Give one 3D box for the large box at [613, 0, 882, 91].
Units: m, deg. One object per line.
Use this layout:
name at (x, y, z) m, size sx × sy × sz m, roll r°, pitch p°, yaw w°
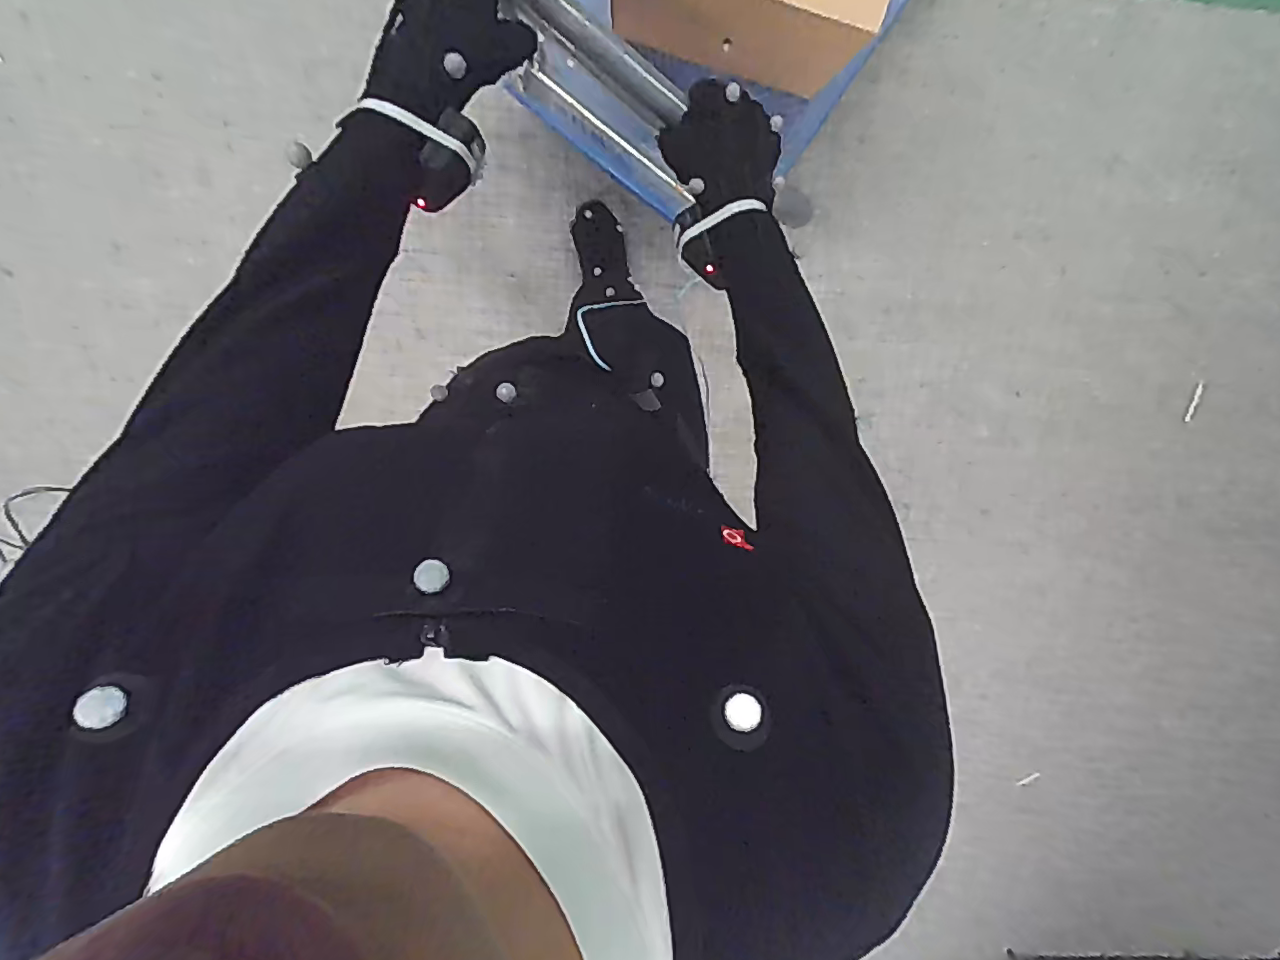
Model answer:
large box at (0.183, -0.891, 0.863) m, size 0.408 × 0.320 × 0.320 m, roll 13°, pitch 109°, yaw -5°
